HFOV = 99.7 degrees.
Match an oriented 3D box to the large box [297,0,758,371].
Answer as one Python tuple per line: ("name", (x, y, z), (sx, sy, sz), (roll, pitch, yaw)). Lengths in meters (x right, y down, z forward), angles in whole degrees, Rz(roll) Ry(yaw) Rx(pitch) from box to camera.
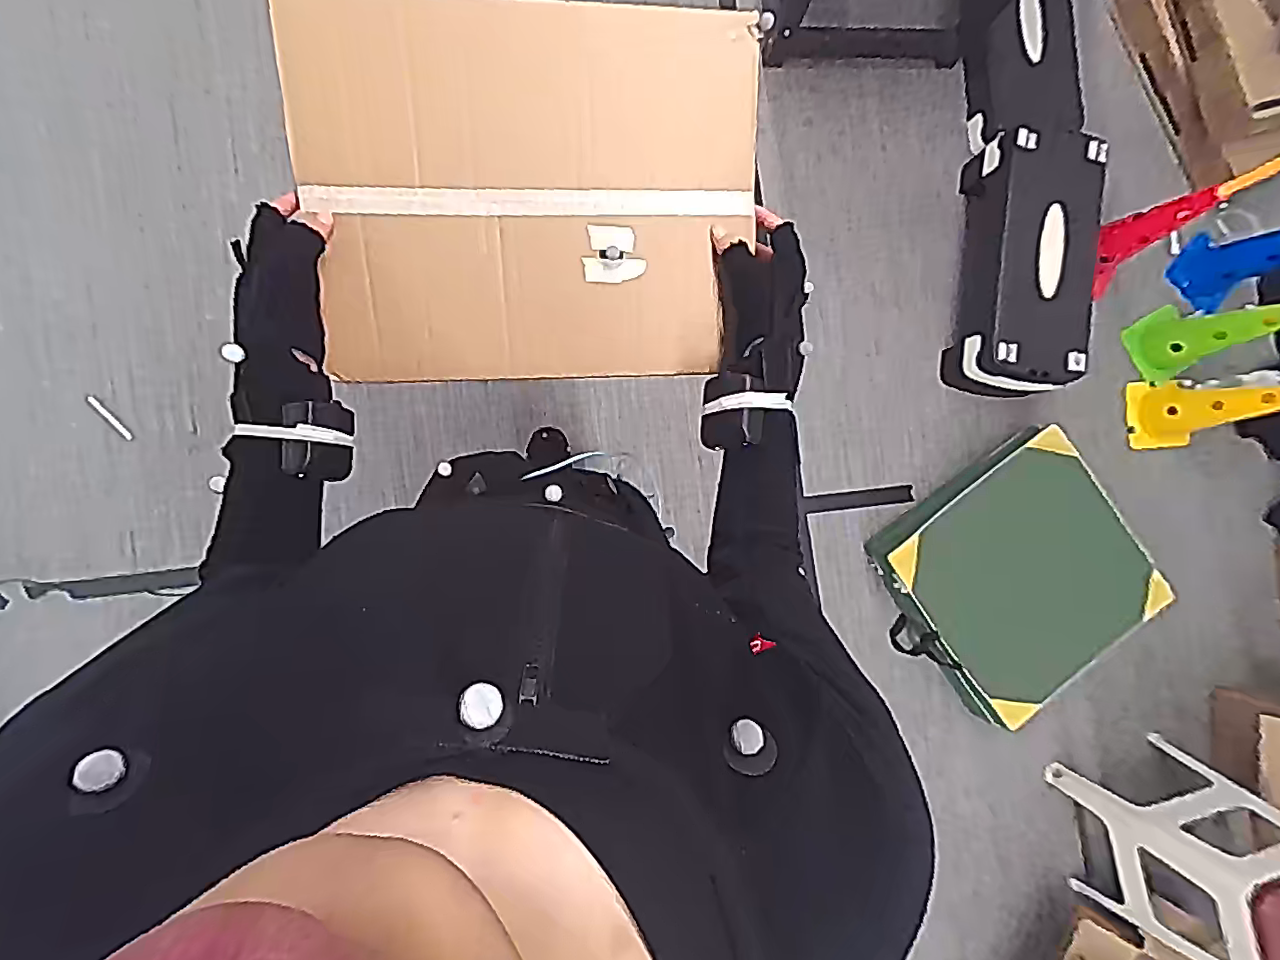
("large box", (-0.107, -0.302, 0.650), (0.408, 0.320, 0.320), (-2, 106, -8))
